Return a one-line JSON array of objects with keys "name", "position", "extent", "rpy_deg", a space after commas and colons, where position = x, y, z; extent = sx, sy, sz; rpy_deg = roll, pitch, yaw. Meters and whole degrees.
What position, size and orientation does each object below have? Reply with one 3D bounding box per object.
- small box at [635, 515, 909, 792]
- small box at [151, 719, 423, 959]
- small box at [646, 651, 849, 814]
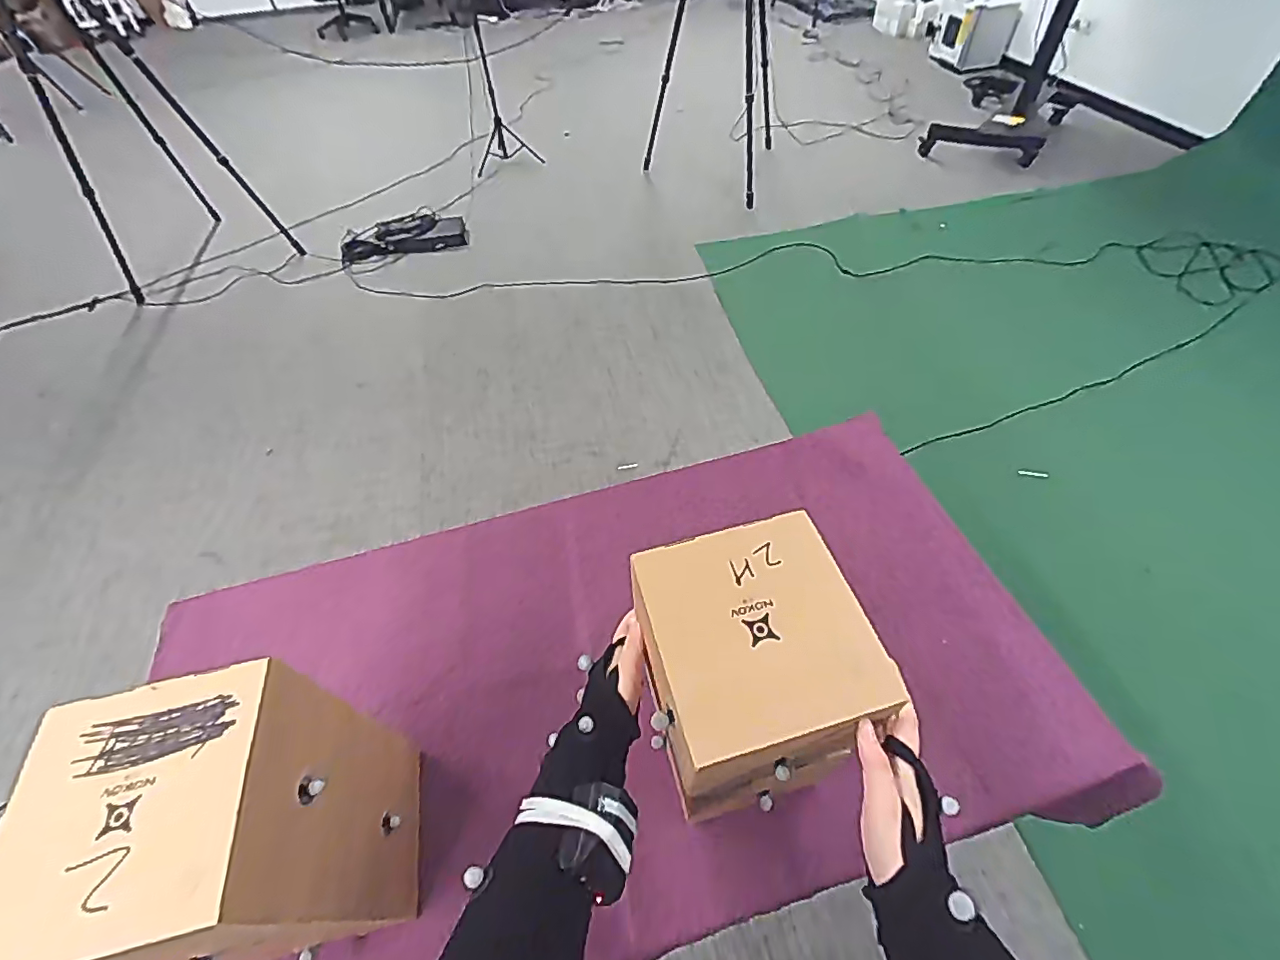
[{"name": "small box", "position": [0.098, 0.163, 0.489], "extent": [0.168, 0.176, 0.179], "rpy_deg": [-13, 53, -8]}, {"name": "small box", "position": [-0.340, 0.380, 0.566], "extent": [0.168, 0.176, 0.179], "rpy_deg": [-13, 52, -6]}, {"name": "small box", "position": [0.109, 0.266, 0.624], "extent": [0.168, 0.176, 0.179], "rpy_deg": [-14, 53, -7]}]
